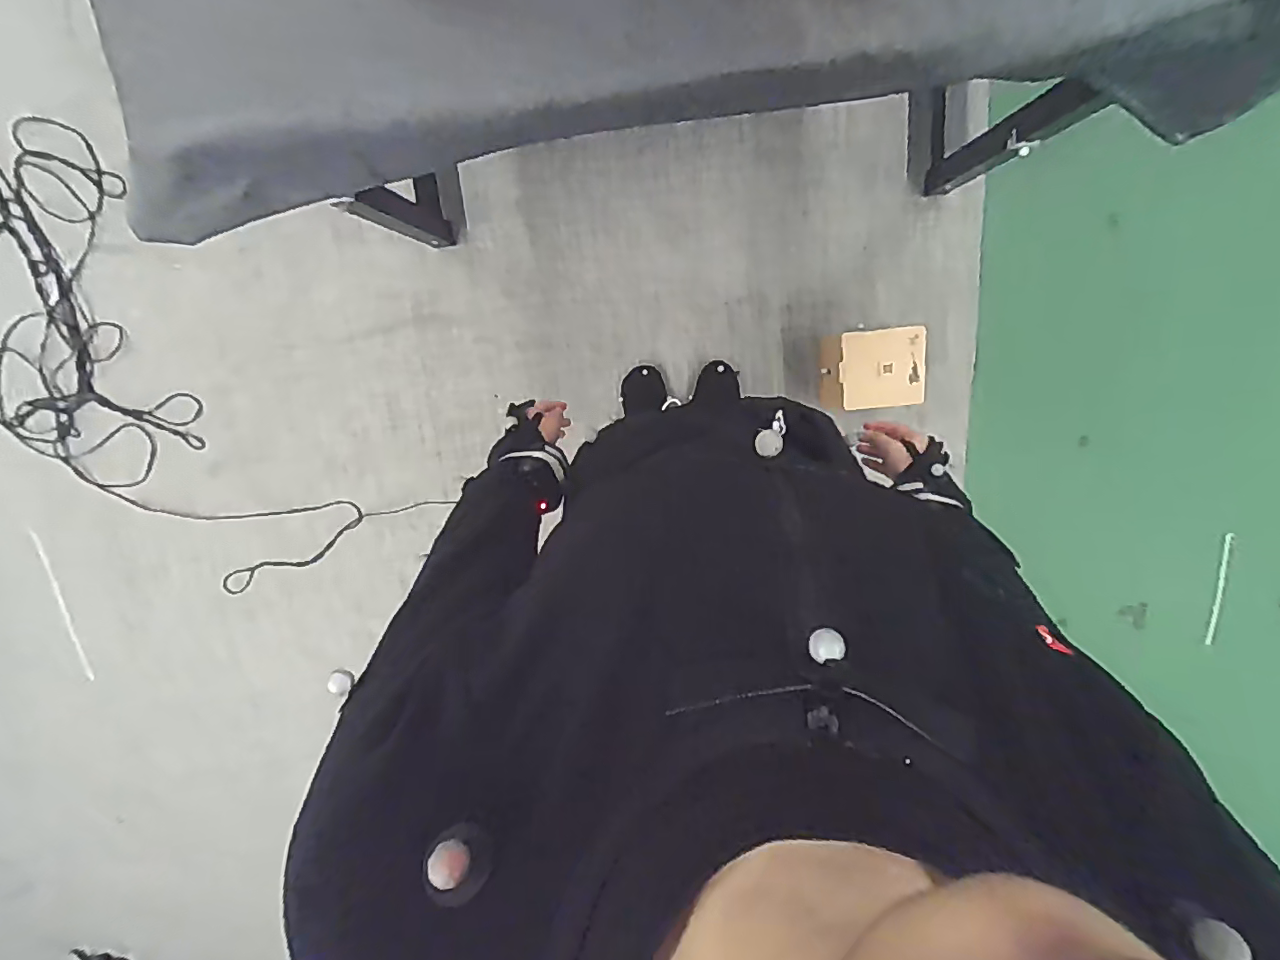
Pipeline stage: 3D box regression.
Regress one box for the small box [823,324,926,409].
[{"bbox_3d":[0.517,-0.253,1.217,0.179,0.176,0.168,-5,102,4],"label":"small box"}]
